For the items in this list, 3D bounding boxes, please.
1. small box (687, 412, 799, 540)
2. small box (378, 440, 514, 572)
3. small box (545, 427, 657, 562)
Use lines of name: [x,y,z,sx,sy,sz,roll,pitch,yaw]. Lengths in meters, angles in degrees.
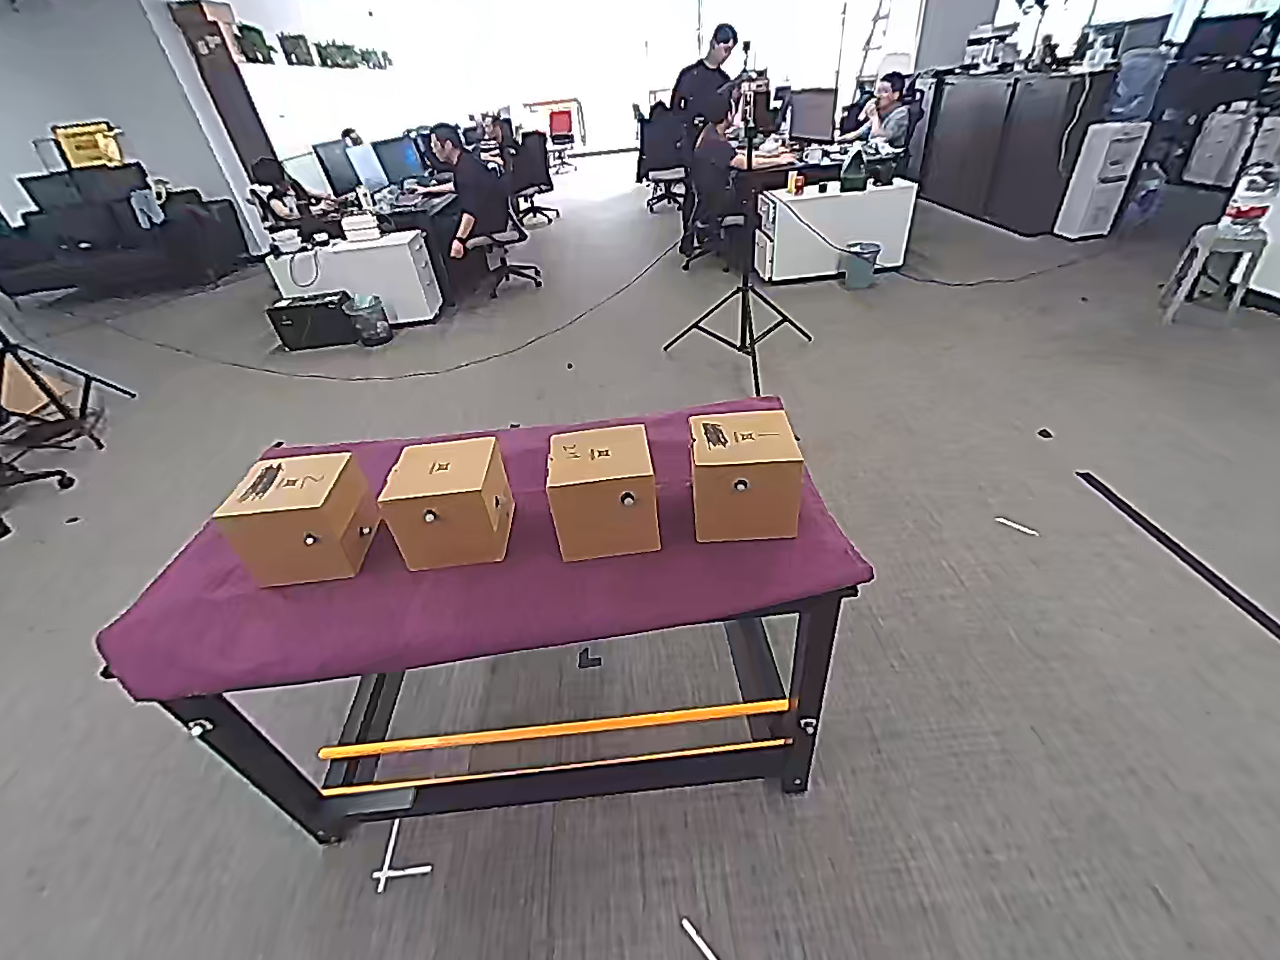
small box: [0.180,-0.006,0.973,0.179,0.176,0.168,-4,36,4]
small box: [-0.341,0.049,0.992,0.179,0.176,0.168,-7,36,0]
small box: [-0.064,0.026,0.972,0.179,0.176,0.168,-8,35,0]
